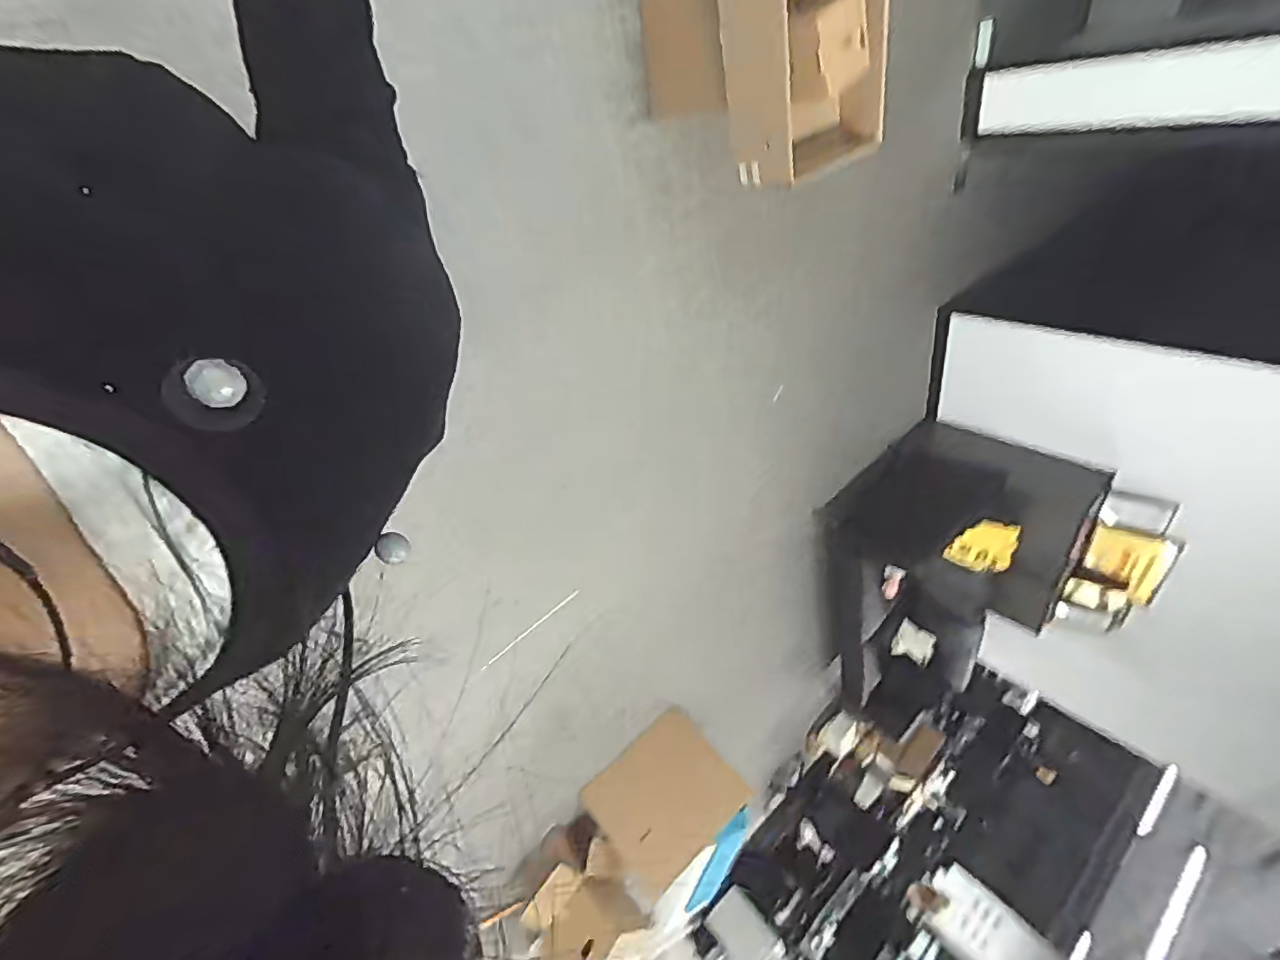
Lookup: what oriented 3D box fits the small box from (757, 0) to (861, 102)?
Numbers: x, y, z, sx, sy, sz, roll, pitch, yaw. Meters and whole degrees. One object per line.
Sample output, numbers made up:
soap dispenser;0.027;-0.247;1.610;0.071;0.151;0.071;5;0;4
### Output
small box;0.399;-1.038;1.293;0.179;0.176;0.168;-45;135;-15
